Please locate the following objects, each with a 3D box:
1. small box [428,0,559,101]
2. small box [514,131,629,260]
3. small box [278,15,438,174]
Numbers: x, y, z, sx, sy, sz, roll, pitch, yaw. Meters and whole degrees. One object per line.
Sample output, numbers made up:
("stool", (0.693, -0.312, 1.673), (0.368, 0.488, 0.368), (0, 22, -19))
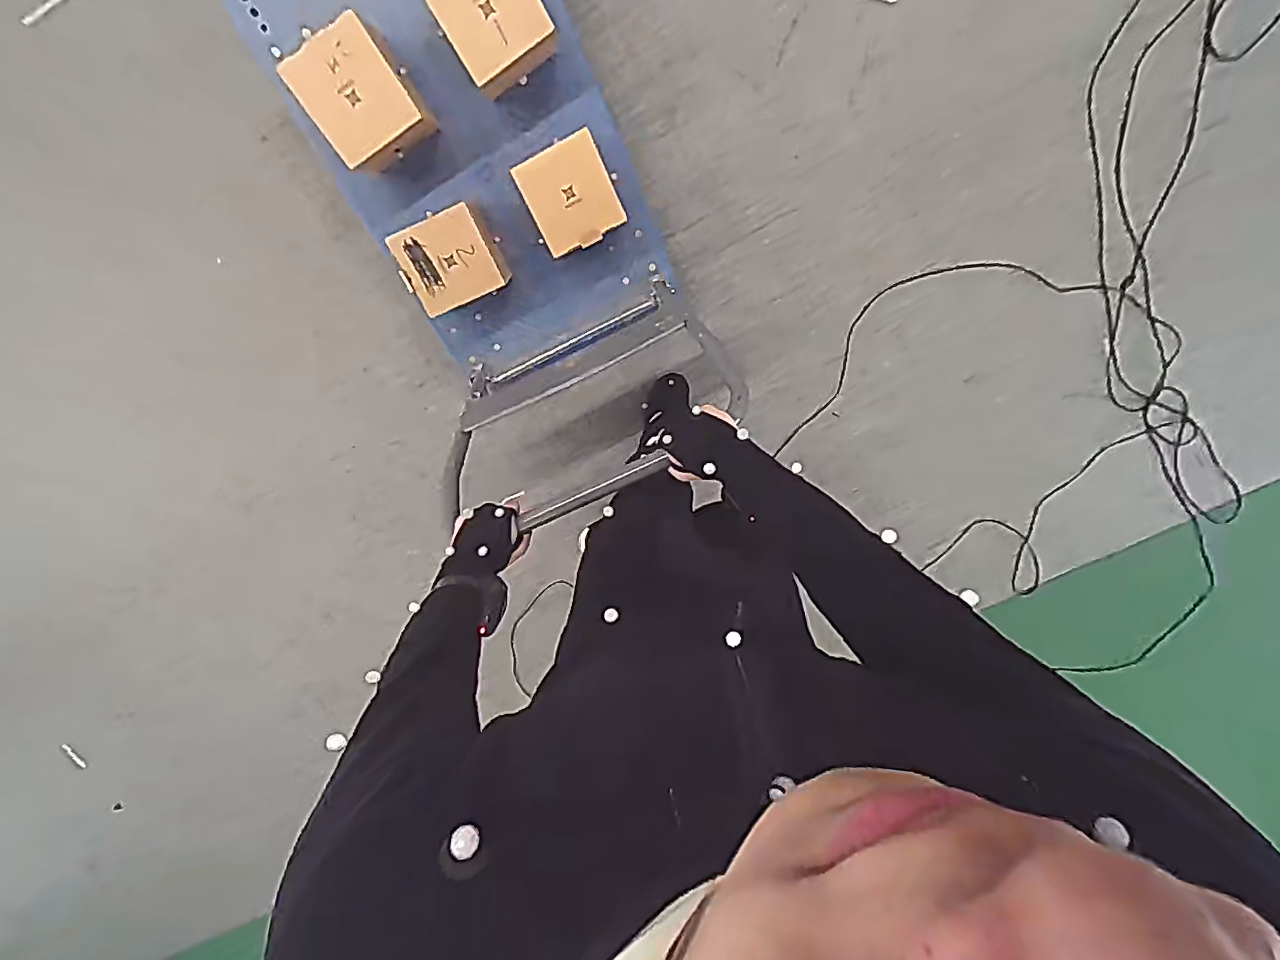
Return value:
("small box", (-0.260, -0.818, 0.962), (0.168, 0.176, 0.179), (-30, 118, 9))
("small box", (-0.139, -0.576, 1.107), (0.168, 0.176, 0.179), (-26, 119, 6))
("small box", (-0.501, -0.694, 0.996), (0.168, 0.176, 0.179), (-30, 118, 7))
